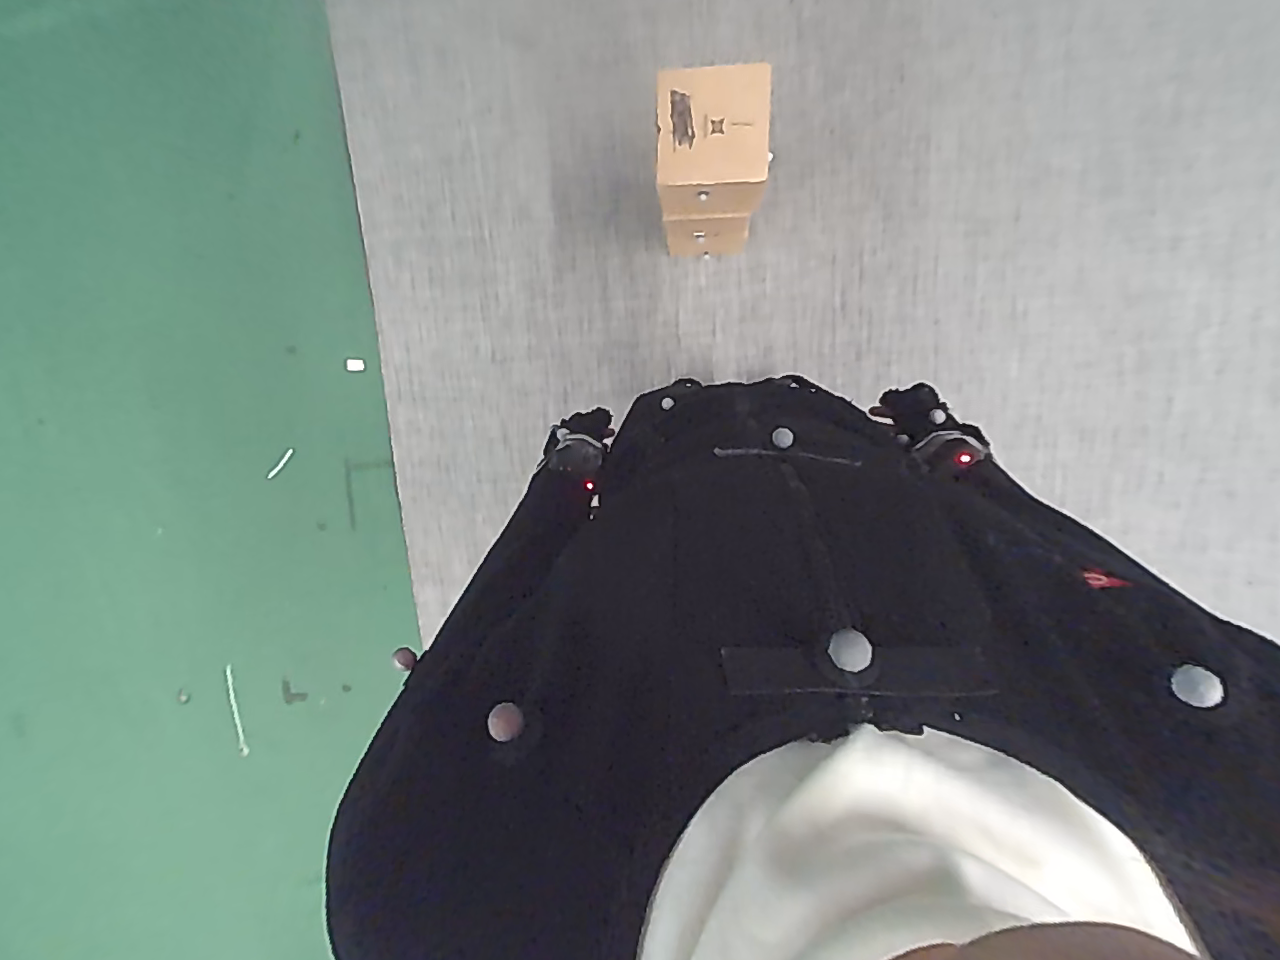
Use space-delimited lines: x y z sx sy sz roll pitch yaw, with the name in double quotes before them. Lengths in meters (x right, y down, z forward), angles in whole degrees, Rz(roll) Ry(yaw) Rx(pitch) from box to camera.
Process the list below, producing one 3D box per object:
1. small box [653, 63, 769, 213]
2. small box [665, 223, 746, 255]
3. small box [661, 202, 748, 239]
"small box" 0.118 -0.565 0.915 0.179 0.176 0.168 1 101 7
"small box" 0.149 -0.619 1.236 0.179 0.176 0.168 1 101 6
"small box" 0.130 -0.595 1.077 0.168 0.176 0.179 1 102 8
